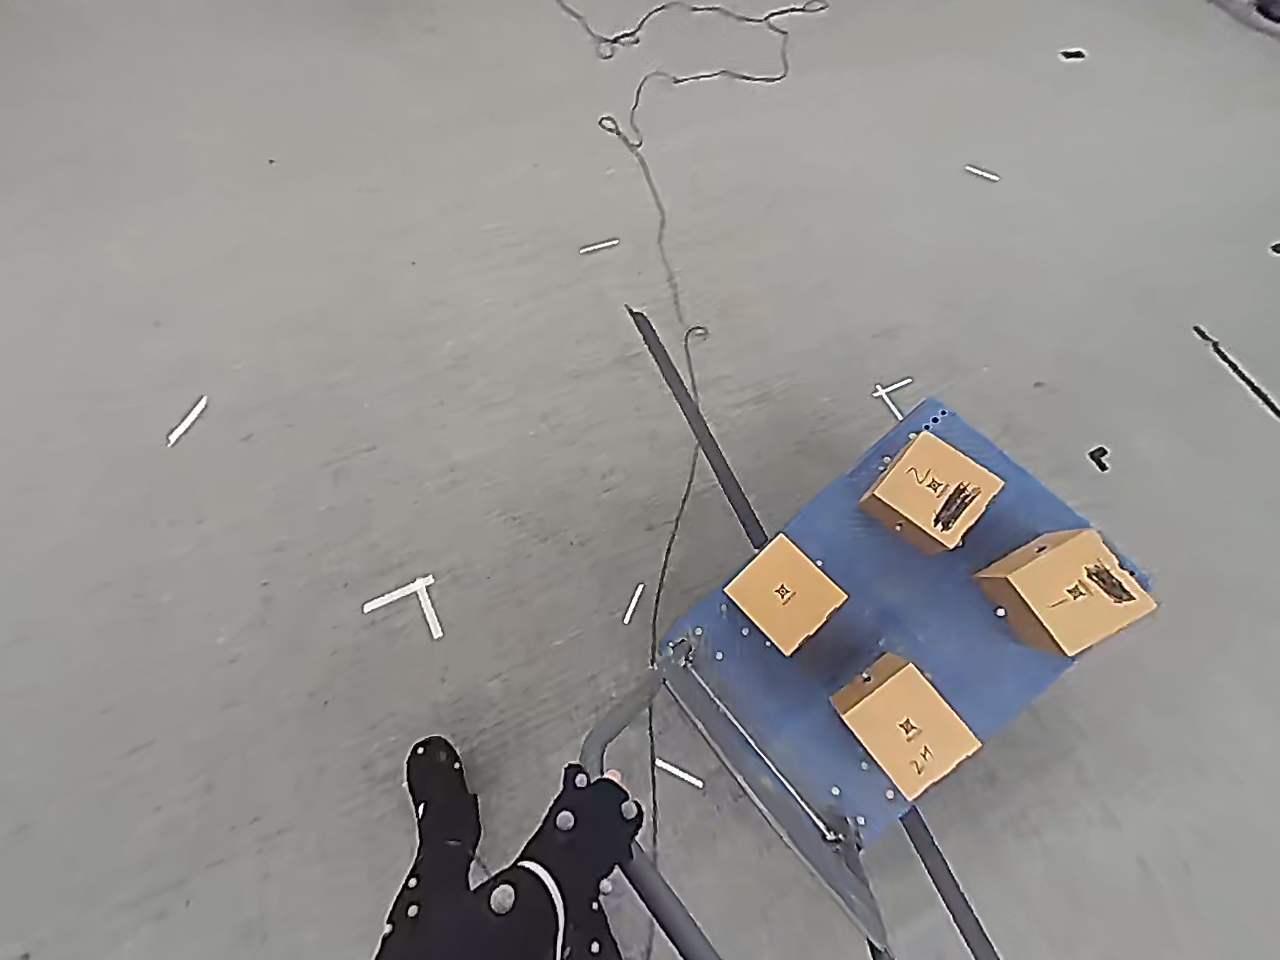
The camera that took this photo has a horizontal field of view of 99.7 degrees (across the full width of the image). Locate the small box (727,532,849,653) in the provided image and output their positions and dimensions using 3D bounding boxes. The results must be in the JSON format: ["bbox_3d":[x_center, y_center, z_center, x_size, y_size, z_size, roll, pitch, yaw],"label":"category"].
[{"bbox_3d":[0.297,0.234,1.129,0.168,0.176,0.179,-44,76,-1],"label":"small box"}]

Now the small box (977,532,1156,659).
[{"bbox_3d":[0.799,0.217,1.038,0.179,0.176,0.168,-31,75,4],"label":"small box"}]

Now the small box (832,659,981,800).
[{"bbox_3d":[0.498,0.465,1.044,0.168,0.176,0.179,-38,75,2],"label":"small box"}]
